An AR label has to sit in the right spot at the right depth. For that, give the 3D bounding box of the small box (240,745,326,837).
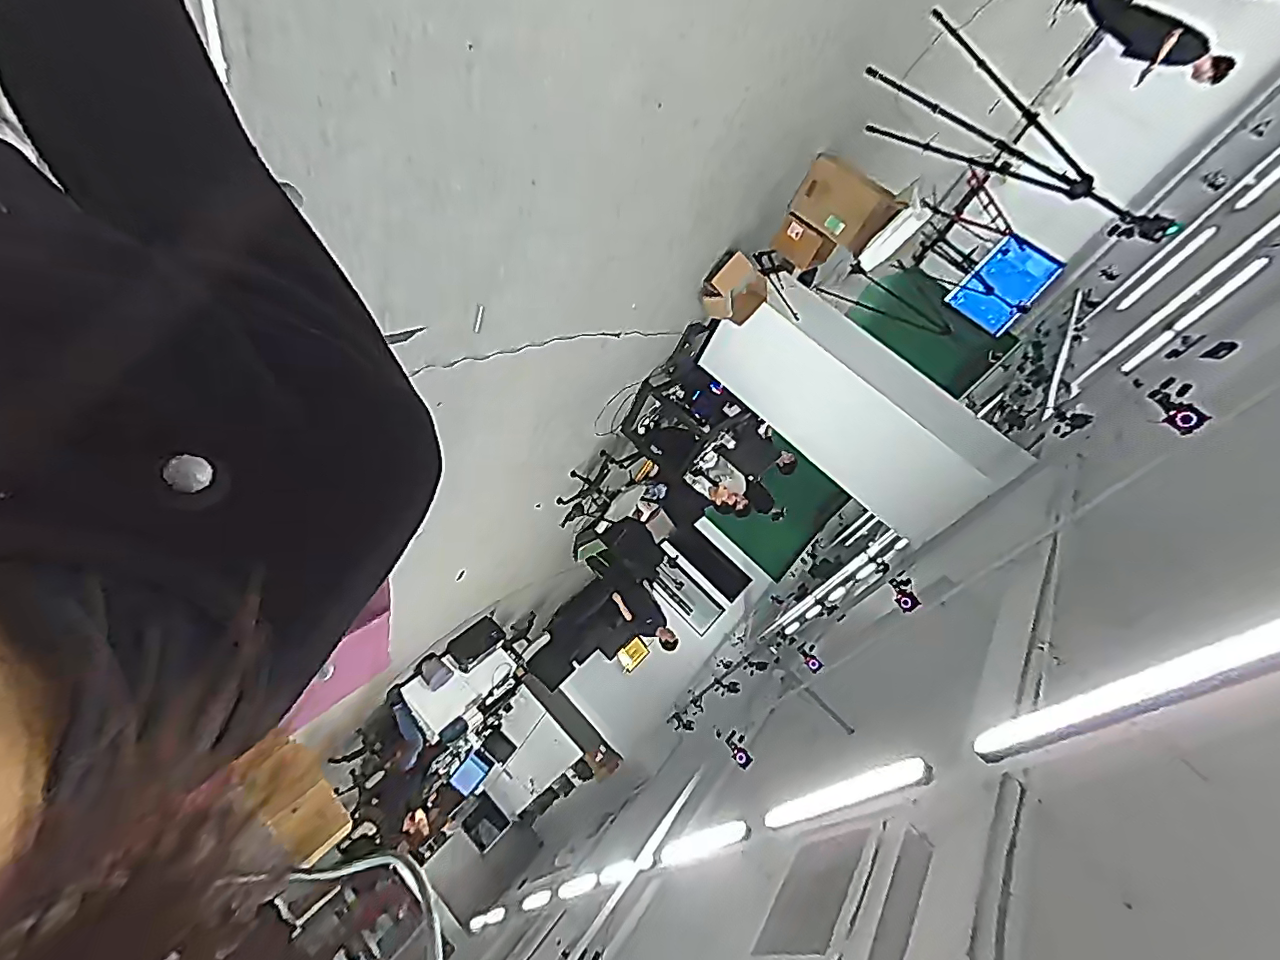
[{"bbox_3d":[-1.145,0.995,1.739,0.179,0.176,0.168,-33,160,-46],"label":"small box"}]

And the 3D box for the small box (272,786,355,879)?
[{"bbox_3d":[-1.031,1.107,1.708,0.168,0.176,0.179,-34,162,-46],"label":"small box"}]
